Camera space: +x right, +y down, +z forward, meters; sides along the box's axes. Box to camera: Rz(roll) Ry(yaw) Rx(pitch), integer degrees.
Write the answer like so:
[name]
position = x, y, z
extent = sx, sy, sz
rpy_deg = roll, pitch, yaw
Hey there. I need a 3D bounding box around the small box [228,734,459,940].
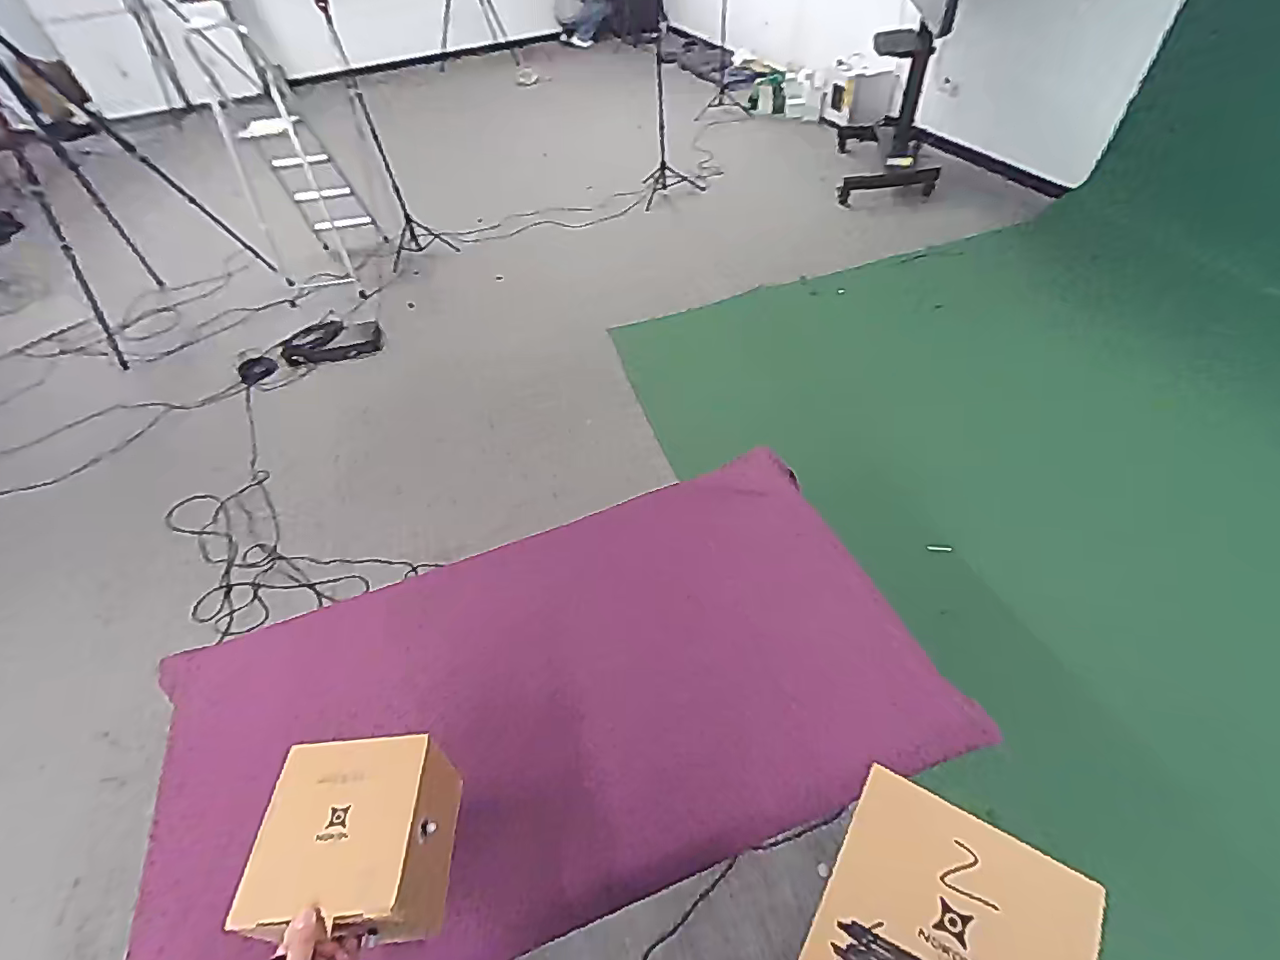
[small box]
position = -0.330, 0.431, 0.649
extent = 0.168, 0.176, 0.179
rpy_deg = -3, 44, -2
